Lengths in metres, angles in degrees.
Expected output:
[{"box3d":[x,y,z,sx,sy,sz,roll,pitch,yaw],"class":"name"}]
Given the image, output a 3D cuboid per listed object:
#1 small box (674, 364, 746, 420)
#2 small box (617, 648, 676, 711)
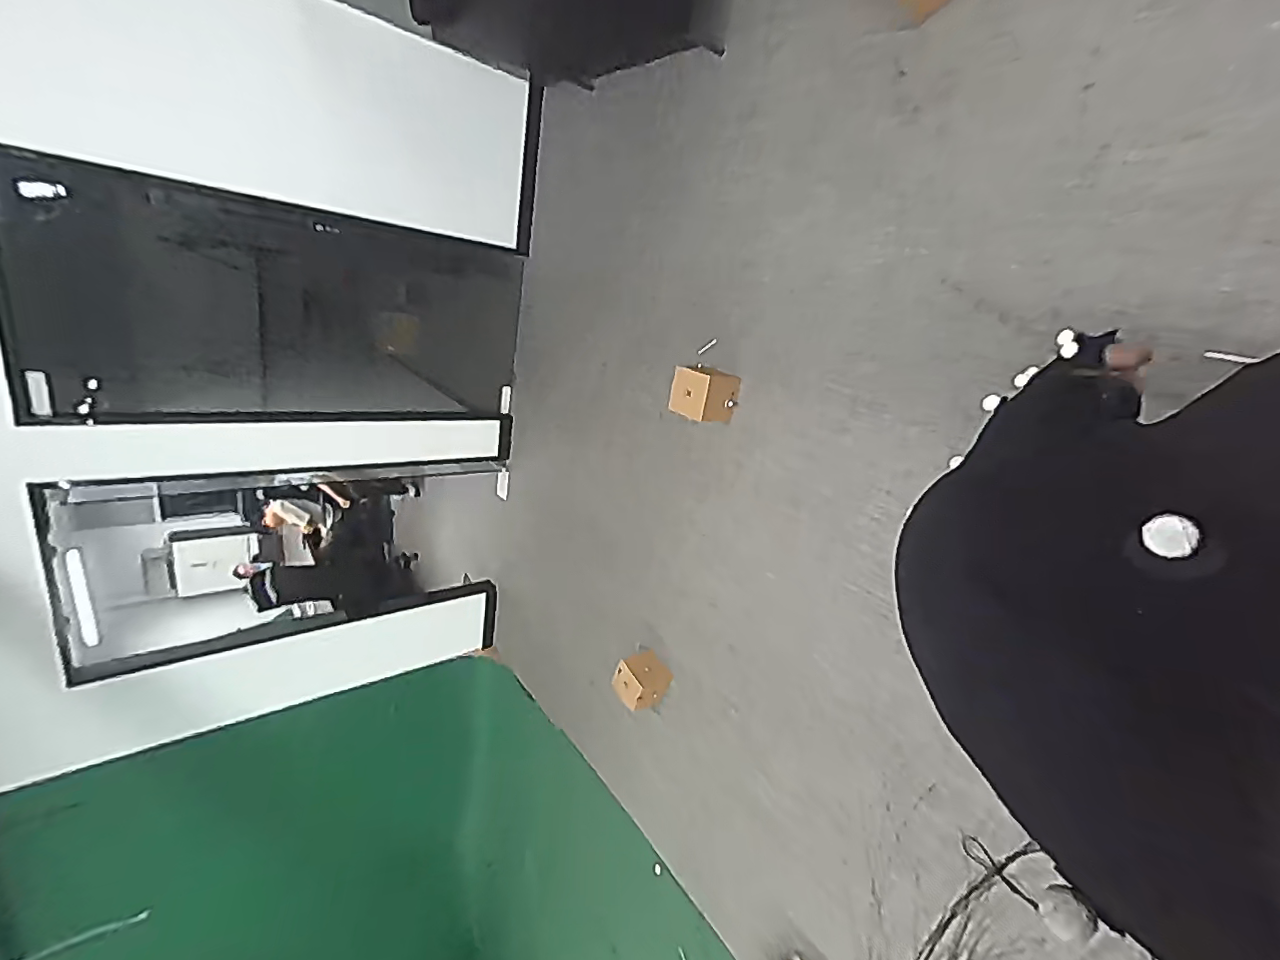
[{"box3d":[0.255,-0.321,1.967,0.179,0.176,0.168,30,118,44],"class":"small box"},{"box3d":[0.031,0.873,2.385,0.179,0.176,0.168,44,126,38],"class":"small box"}]
